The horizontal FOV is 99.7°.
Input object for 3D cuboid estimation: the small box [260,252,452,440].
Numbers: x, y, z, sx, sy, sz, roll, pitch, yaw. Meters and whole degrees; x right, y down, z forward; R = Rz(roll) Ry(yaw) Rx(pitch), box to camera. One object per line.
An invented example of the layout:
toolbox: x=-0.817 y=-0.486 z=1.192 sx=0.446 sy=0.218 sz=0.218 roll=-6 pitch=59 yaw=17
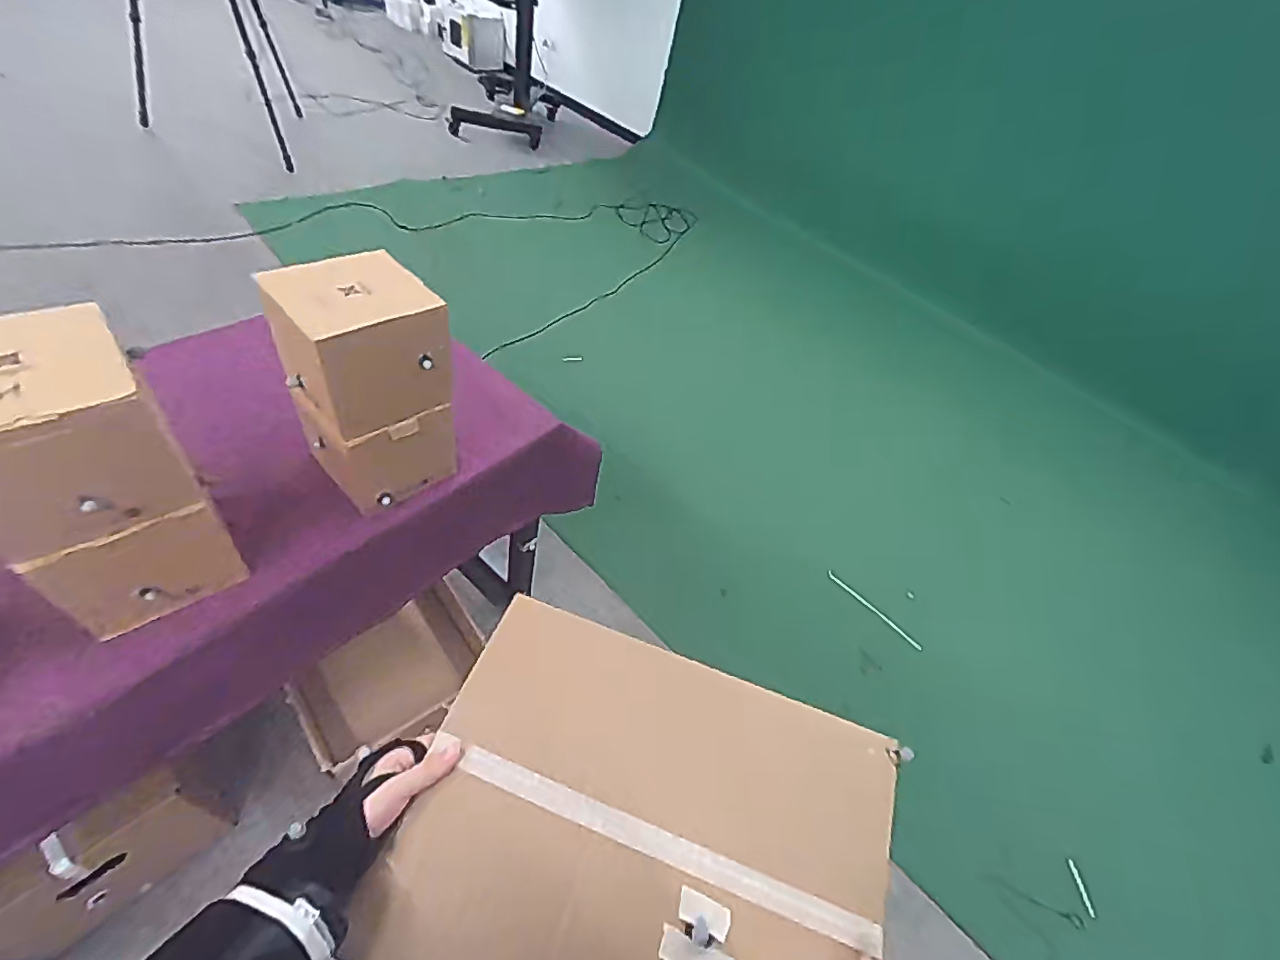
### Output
small box: x=-0.382 y=-0.188 z=0.758 sx=0.168 sy=0.176 sz=0.179 roll=41 pitch=52 yaw=22

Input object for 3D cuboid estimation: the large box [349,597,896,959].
large box: x=0.001 y=0.384 z=0.587 sx=0.408 sy=0.320 sz=0.320 roll=18 pitch=56 yaw=10

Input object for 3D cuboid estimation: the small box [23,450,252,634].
small box: x=-0.640 y=0.062 z=0.692 sx=0.168 sy=0.176 sz=0.179 roll=-29 pitch=63 yaw=-33

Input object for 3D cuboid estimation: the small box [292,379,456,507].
small box: x=-0.417 y=-0.079 z=0.875 sx=0.179 sy=0.176 sz=0.168 roll=40 pitch=51 yaw=21

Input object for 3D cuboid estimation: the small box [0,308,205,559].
small box: x=-0.610 y=-0.050 z=0.574 sx=0.168 sy=0.176 sz=0.179 roll=-27 pitch=62 yaw=-33
